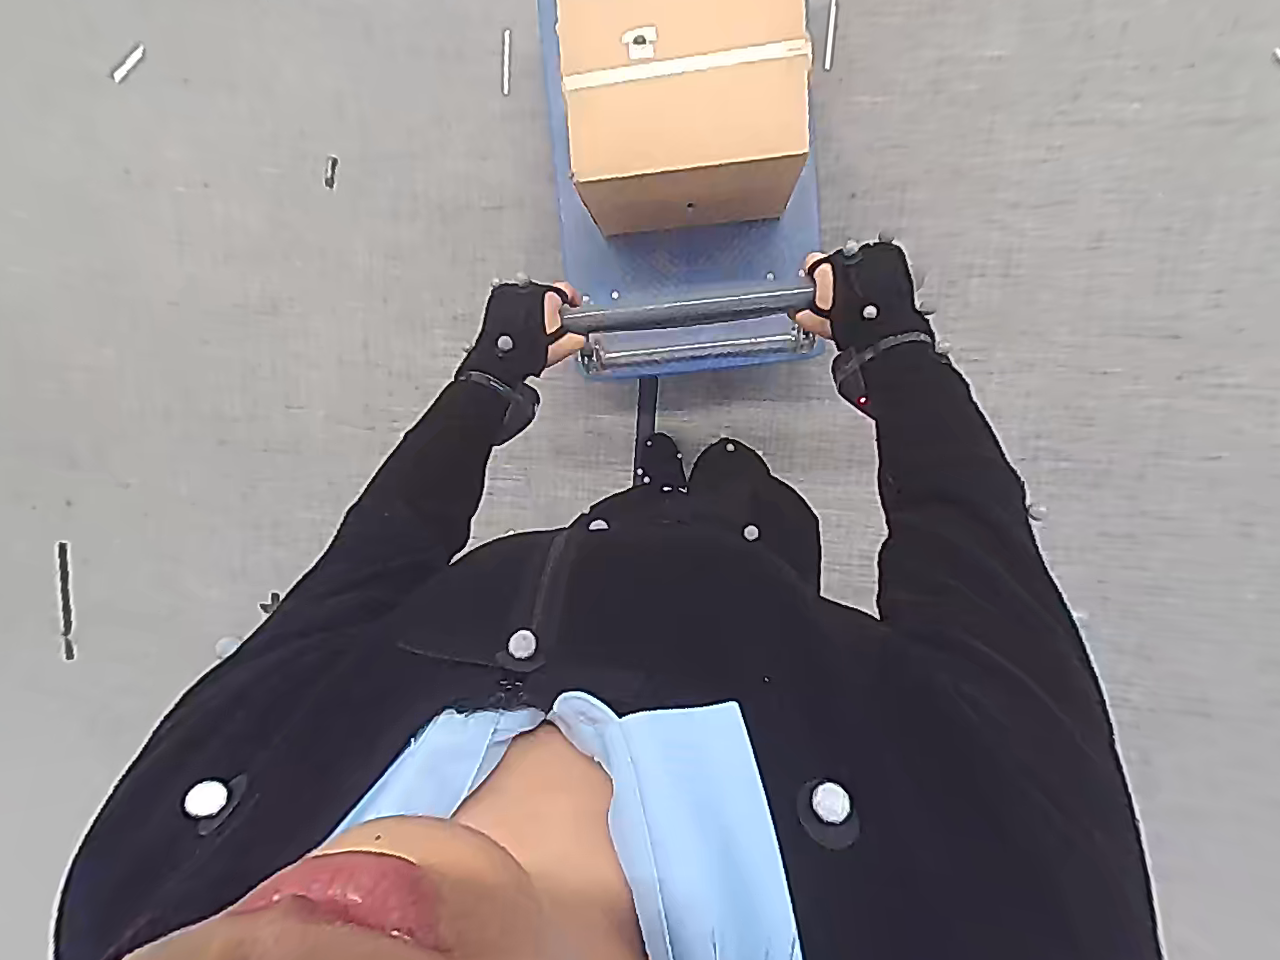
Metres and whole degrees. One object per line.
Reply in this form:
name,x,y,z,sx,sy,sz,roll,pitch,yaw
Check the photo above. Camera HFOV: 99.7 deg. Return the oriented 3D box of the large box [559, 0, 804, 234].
large box,0.088,-0.712,1.067,0.408,0.320,0.320,-4,96,8
